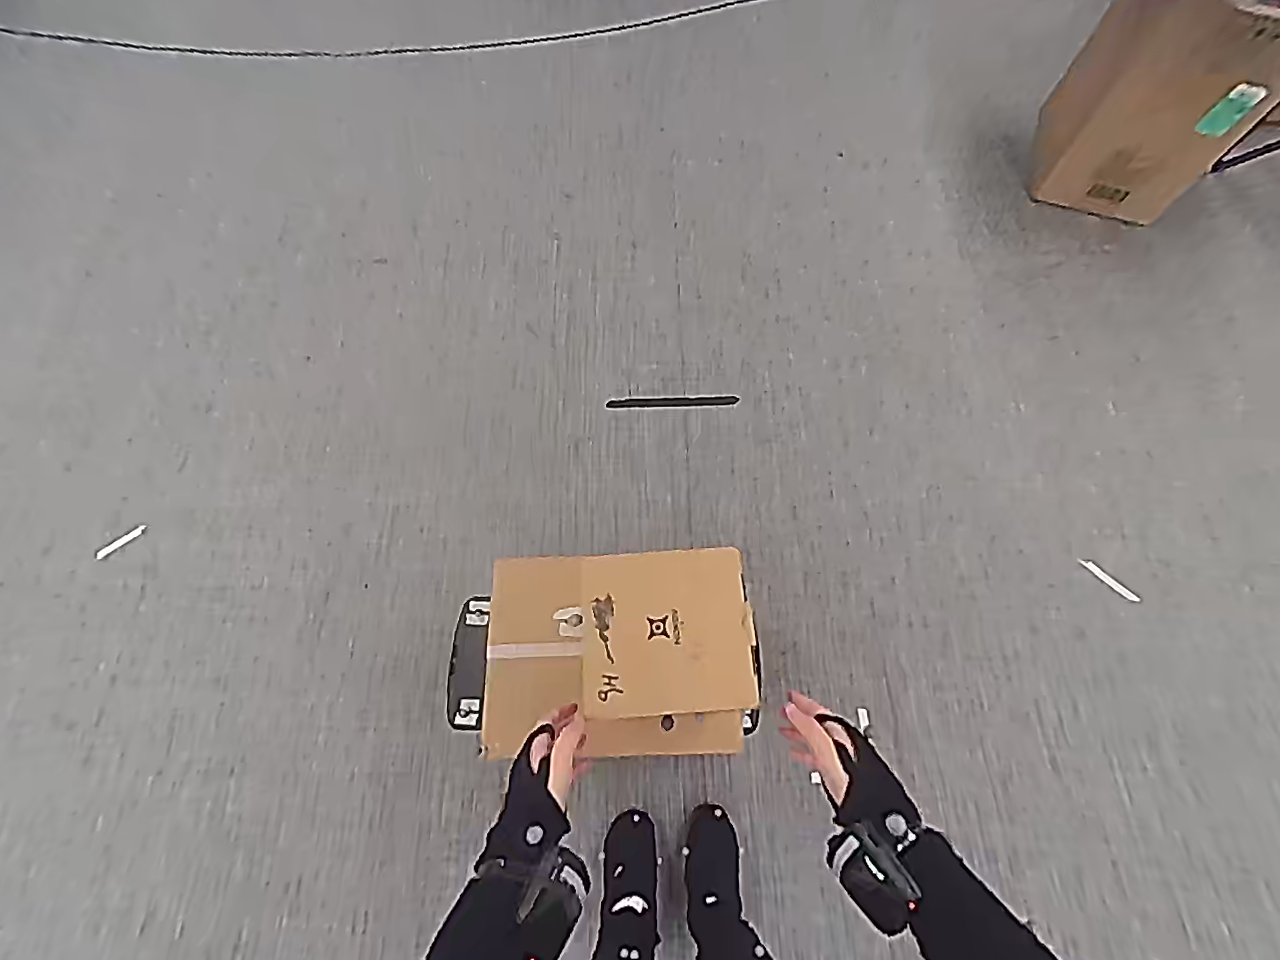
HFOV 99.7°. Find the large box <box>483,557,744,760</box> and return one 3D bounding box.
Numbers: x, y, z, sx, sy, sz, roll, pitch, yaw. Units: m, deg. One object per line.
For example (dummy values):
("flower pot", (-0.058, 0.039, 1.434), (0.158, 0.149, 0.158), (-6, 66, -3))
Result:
("large box", (-0.040, 0.327, 1.008), (0.408, 0.320, 0.320), (-2, 67, 1))

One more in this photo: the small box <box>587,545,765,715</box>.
("small box", (0.030, 0.179, 0.626), (0.179, 0.176, 0.168), (-2, 66, -2))
